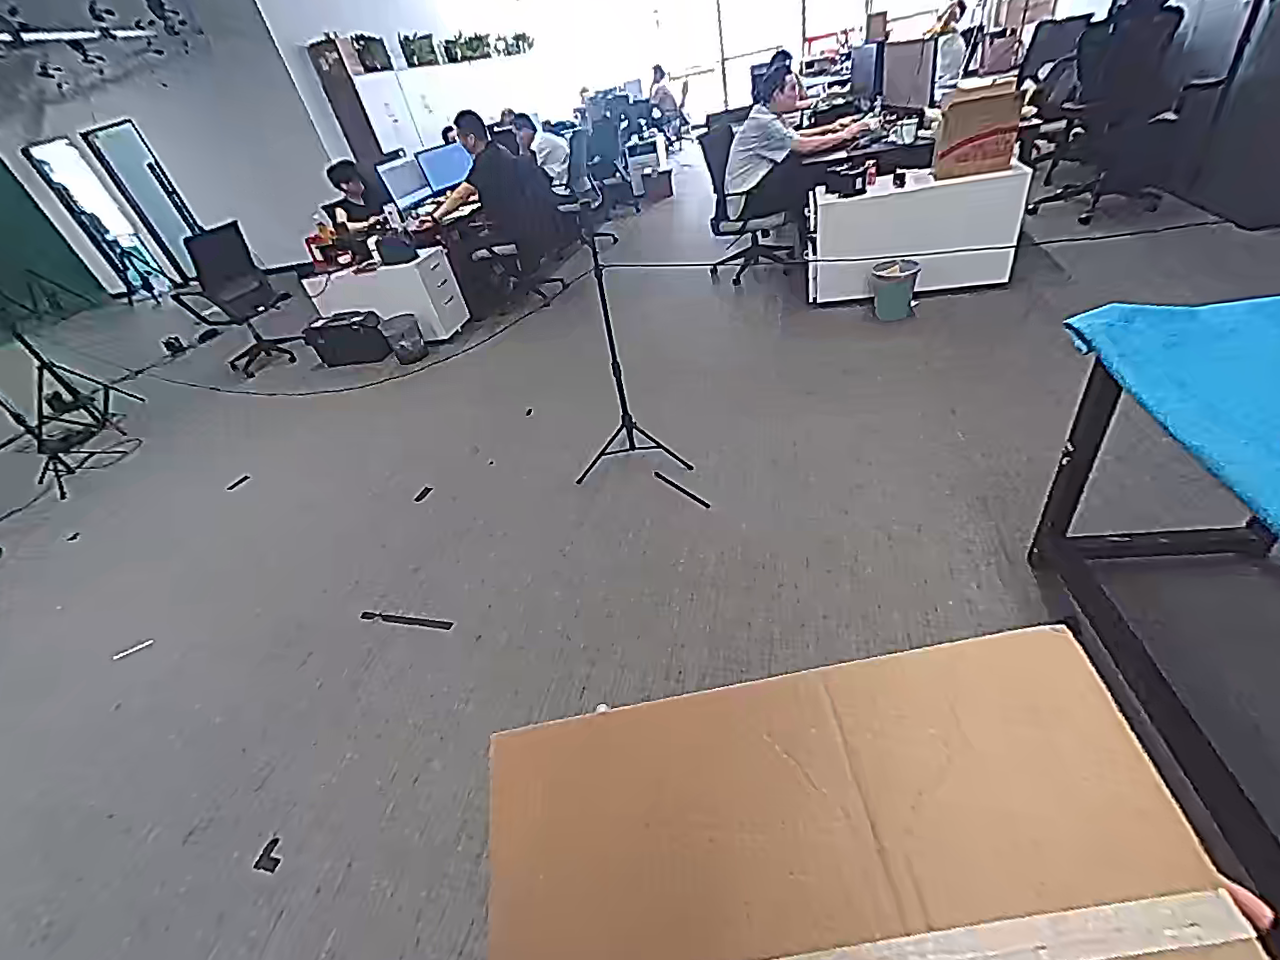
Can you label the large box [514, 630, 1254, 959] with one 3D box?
[{"bbox_3d":[0.147,0.352,0.430,0.408,0.320,0.320,-13,58,4],"label":"large box"}]
